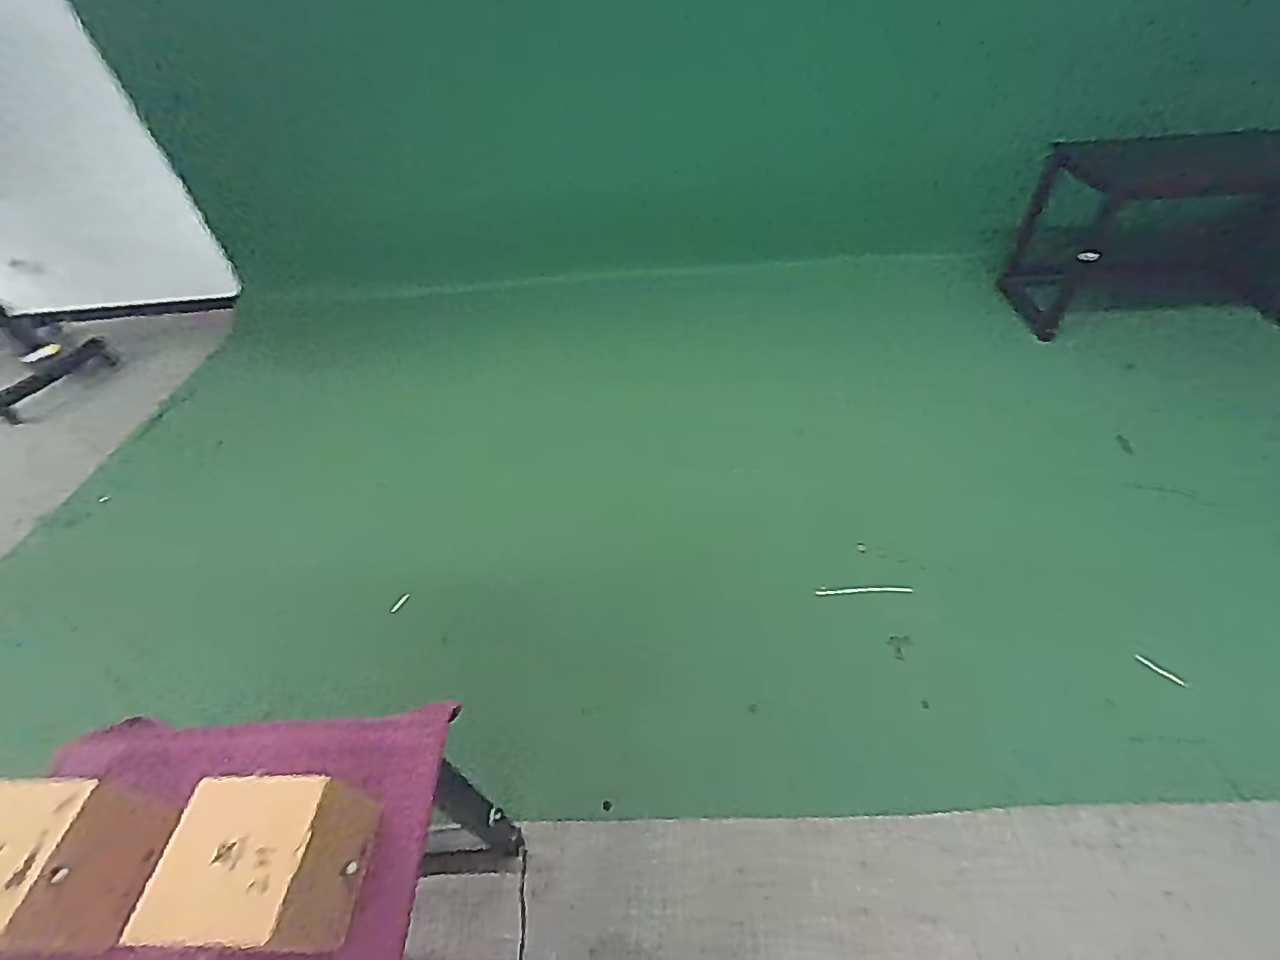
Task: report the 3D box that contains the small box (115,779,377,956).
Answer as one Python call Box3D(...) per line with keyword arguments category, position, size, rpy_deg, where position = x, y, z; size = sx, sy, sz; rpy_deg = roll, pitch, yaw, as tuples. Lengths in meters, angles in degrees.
Box3D(category="small box", position=(-0.479, 0.497, 0.693), size=(0.179, 0.176, 0.168), rpy_deg=(-2, 47, 4))

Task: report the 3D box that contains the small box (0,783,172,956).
Box3D(category="small box", position=(-0.796, 0.515, 0.714), size=(0.179, 0.176, 0.168), rpy_deg=(-2, 46, 4))
